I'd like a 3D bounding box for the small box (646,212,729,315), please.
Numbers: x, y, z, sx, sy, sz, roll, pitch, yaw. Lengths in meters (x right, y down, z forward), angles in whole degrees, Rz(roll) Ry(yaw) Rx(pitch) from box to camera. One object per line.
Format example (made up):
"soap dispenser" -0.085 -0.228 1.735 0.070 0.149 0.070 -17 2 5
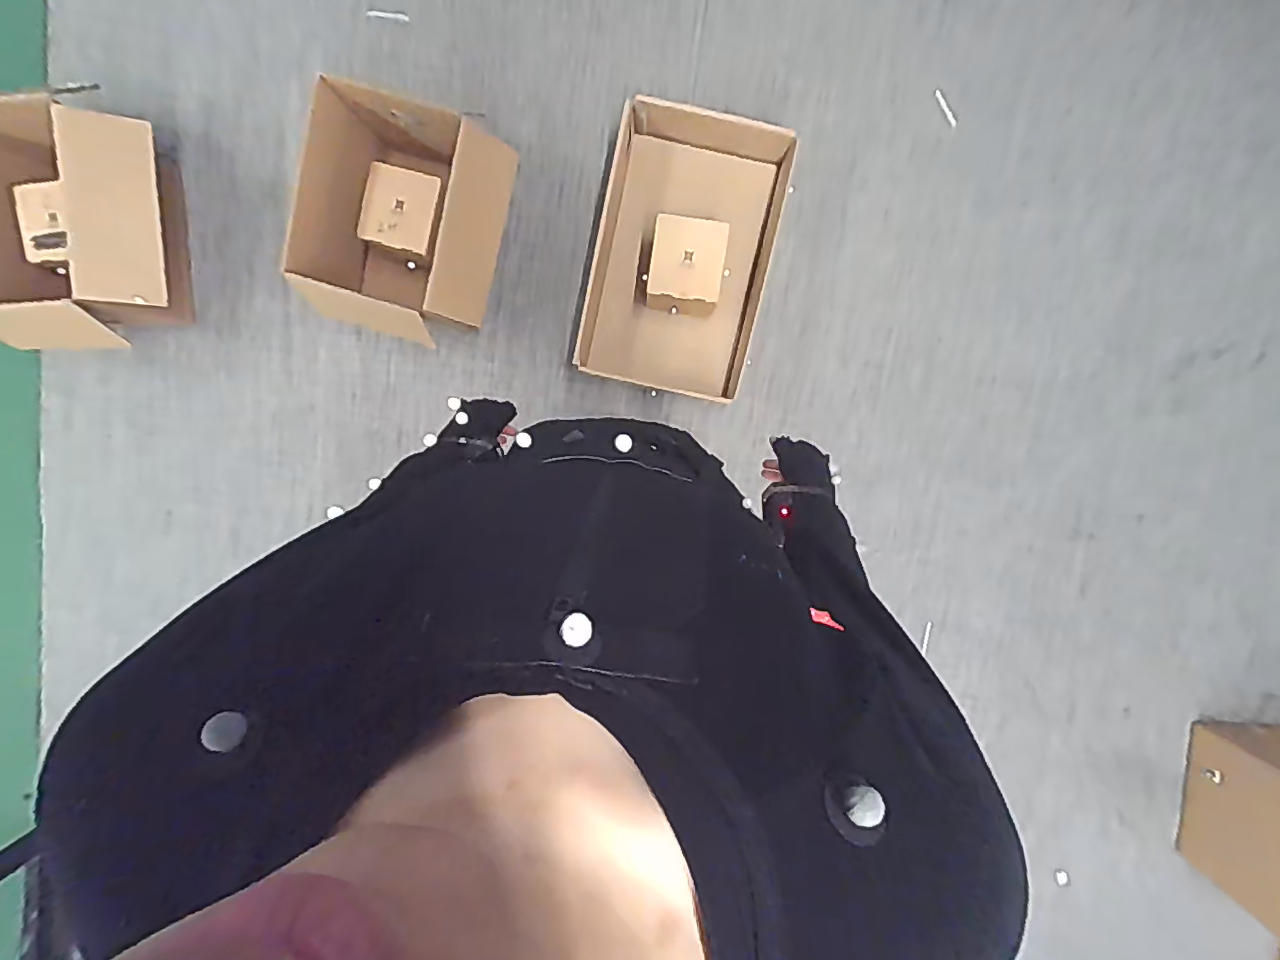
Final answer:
"small box" 0.104 -0.505 1.280 0.168 0.176 0.179 8 97 0
